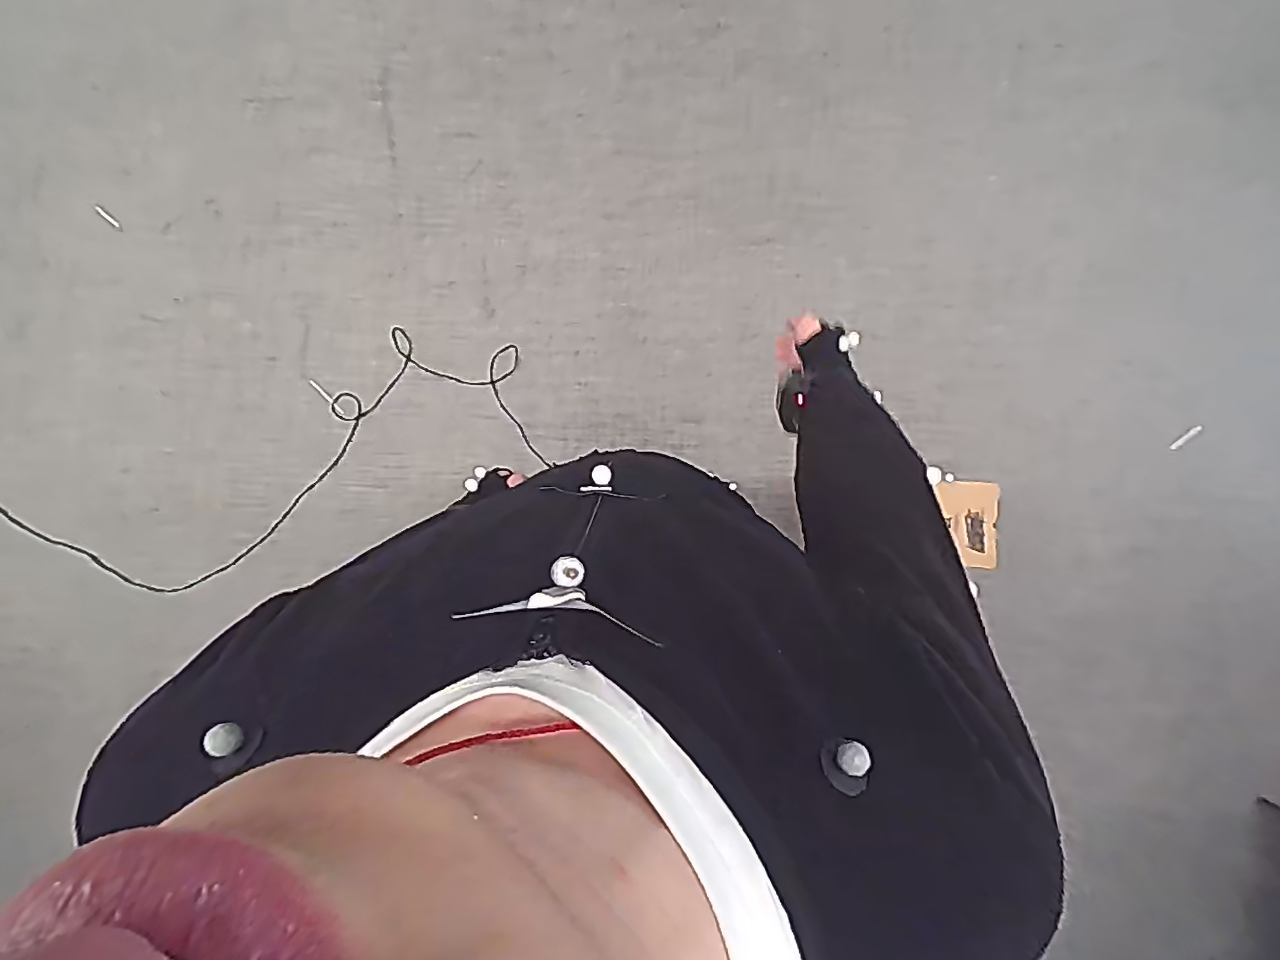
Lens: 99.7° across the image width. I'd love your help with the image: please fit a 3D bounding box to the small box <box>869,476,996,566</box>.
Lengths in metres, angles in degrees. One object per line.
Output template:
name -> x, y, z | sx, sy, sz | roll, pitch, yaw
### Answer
small box -> 0.600, 0.078, 1.124 | 0.179, 0.176, 0.168 | 3, 91, 4
